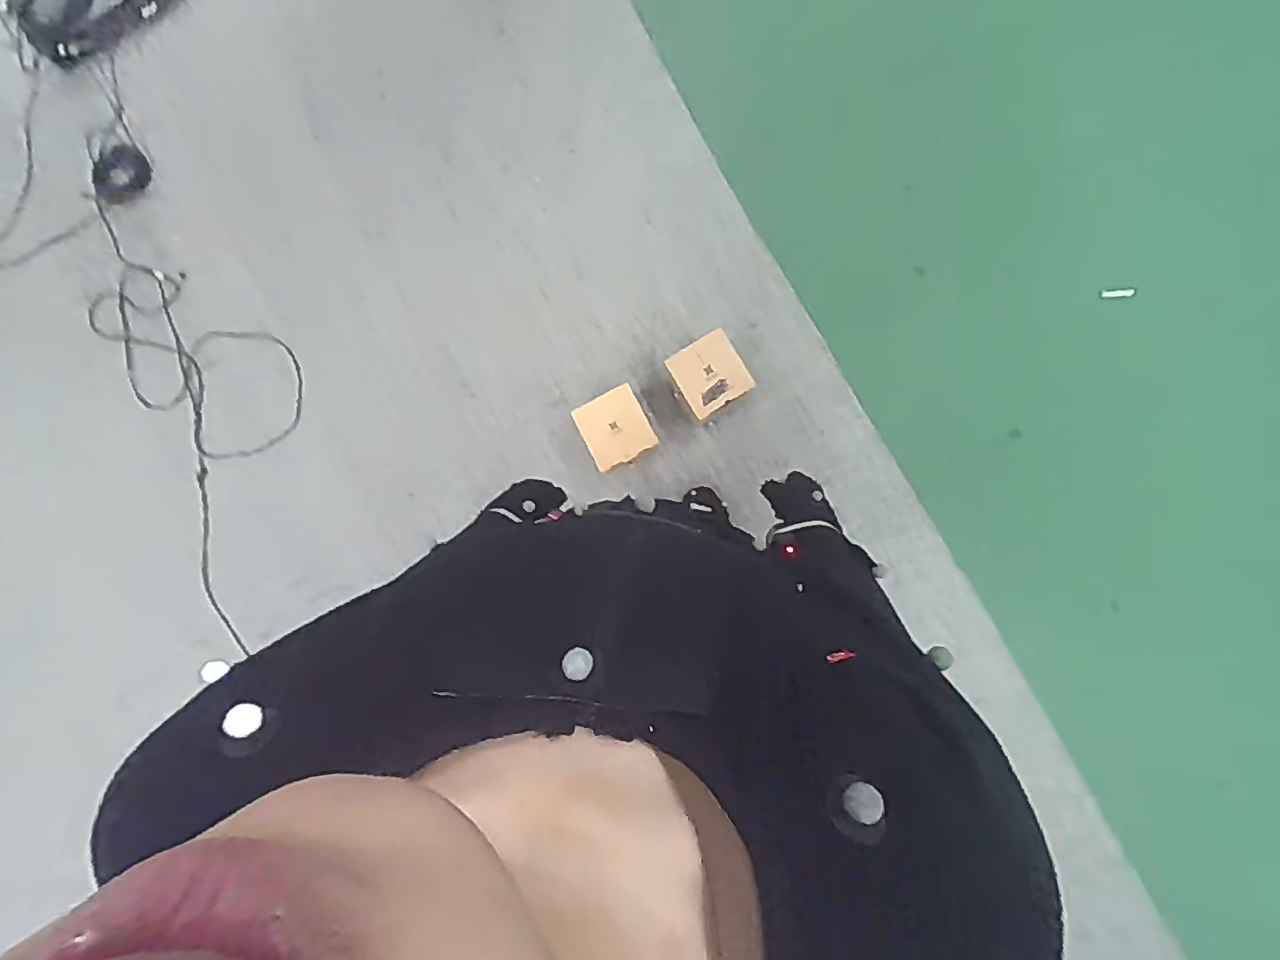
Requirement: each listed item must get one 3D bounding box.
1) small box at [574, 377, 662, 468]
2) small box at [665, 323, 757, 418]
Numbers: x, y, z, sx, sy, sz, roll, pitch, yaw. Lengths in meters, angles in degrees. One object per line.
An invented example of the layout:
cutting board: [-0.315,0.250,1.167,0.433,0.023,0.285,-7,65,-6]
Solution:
small box: [-0.052,-0.142,1.421,0.168,0.176,0.179,-28,87,5]
small box: [0.183,-0.272,1.398,0.168,0.176,0.179,-31,86,5]
